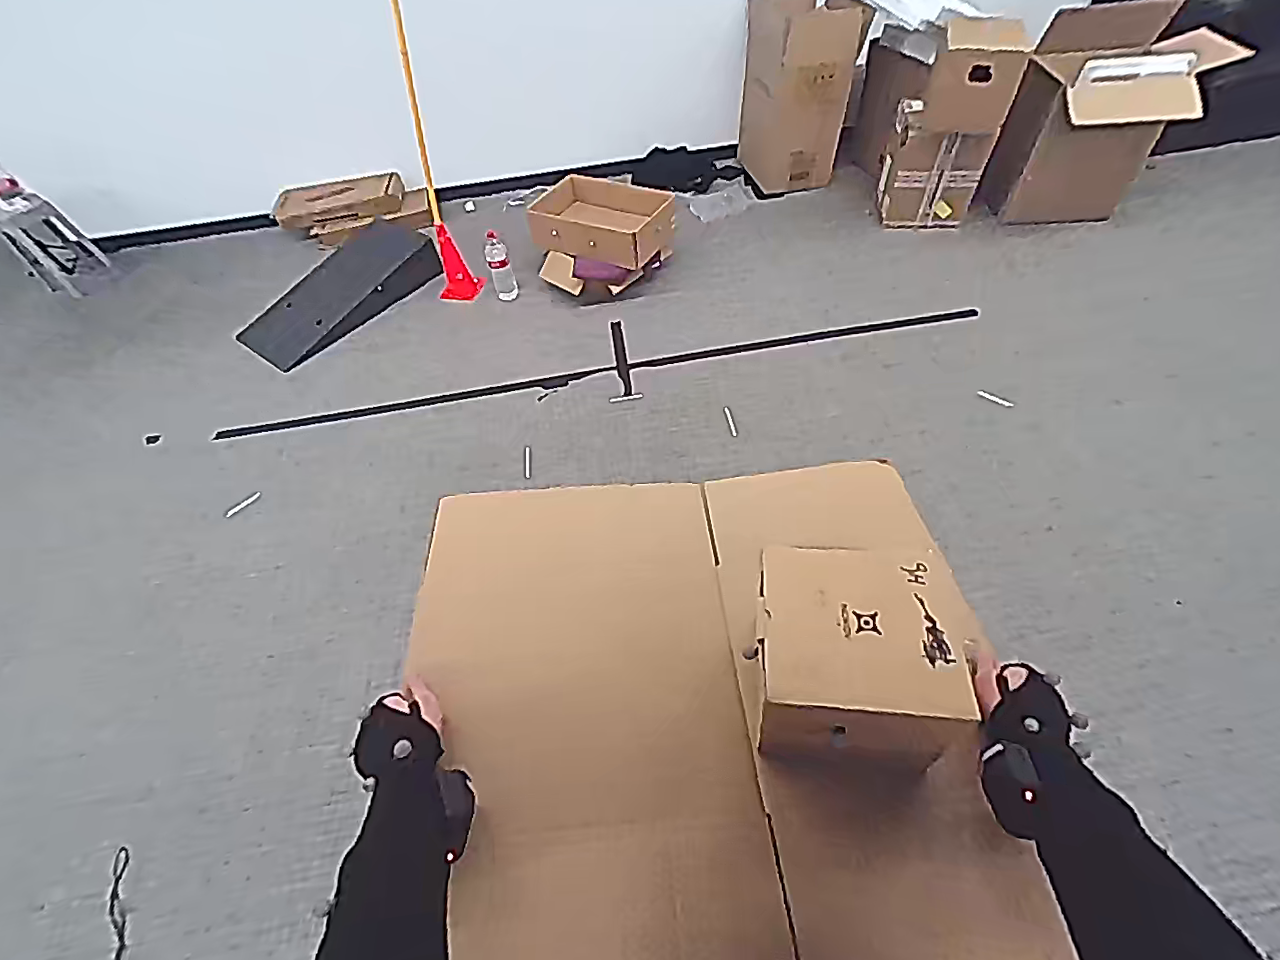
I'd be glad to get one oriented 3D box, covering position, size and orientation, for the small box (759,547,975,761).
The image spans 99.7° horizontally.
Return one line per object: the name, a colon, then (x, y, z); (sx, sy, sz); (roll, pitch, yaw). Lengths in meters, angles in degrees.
small box: (0.219, 0.186, 0.577); (0.179, 0.176, 0.168); (0, 50, 11)
